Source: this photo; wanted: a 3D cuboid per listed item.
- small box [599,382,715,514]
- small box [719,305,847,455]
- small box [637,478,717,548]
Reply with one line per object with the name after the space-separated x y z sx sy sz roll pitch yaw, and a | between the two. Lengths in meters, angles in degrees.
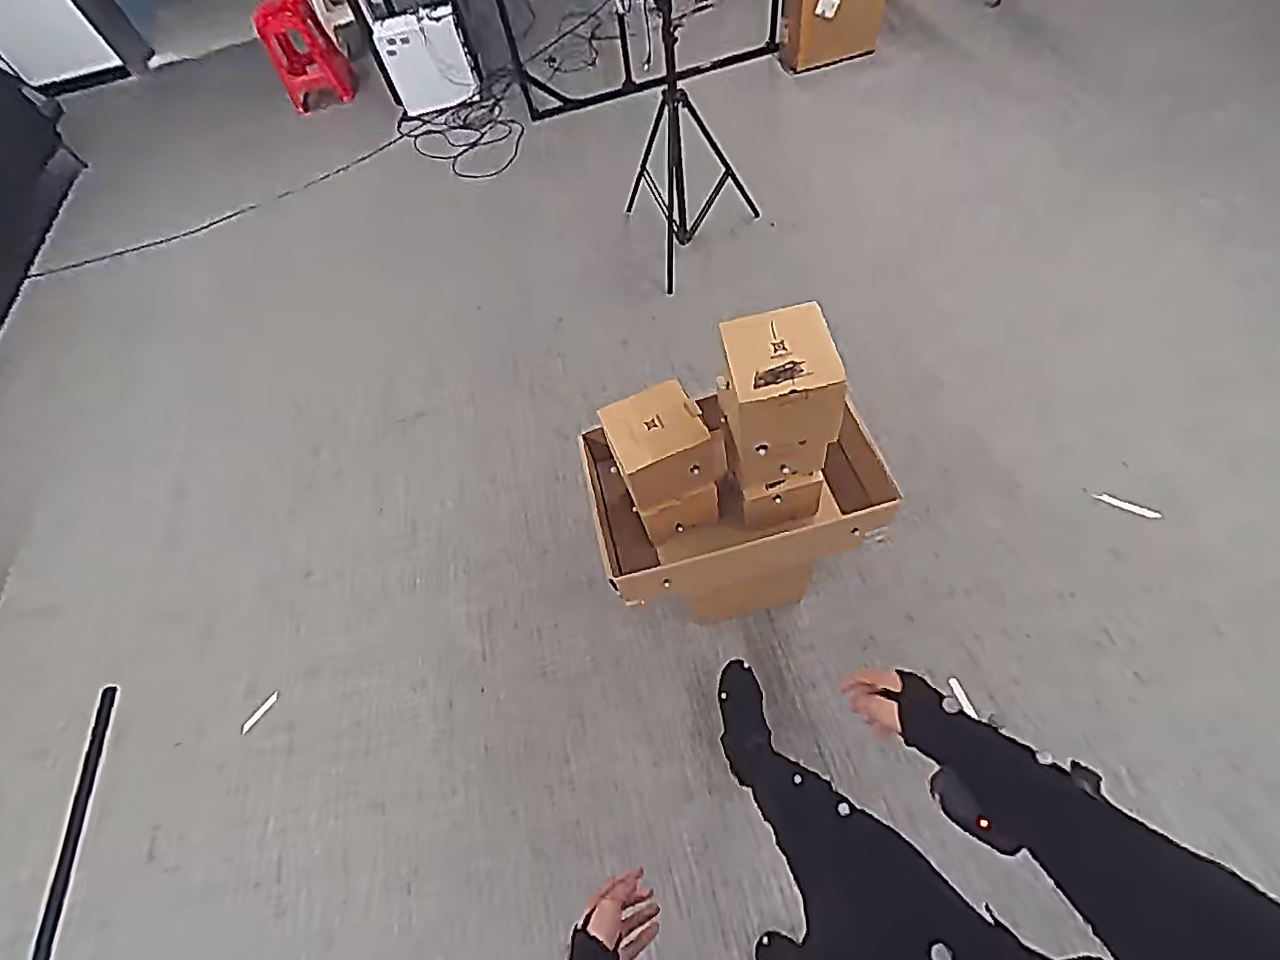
0.036 -0.059 1.084 0.179 0.176 0.168 -23 59 -5 | small box
0.235 -0.157 0.913 0.168 0.176 0.179 -11 59 7 | small box
0.065 0.024 1.222 0.168 0.176 0.179 -23 60 -4 | small box
